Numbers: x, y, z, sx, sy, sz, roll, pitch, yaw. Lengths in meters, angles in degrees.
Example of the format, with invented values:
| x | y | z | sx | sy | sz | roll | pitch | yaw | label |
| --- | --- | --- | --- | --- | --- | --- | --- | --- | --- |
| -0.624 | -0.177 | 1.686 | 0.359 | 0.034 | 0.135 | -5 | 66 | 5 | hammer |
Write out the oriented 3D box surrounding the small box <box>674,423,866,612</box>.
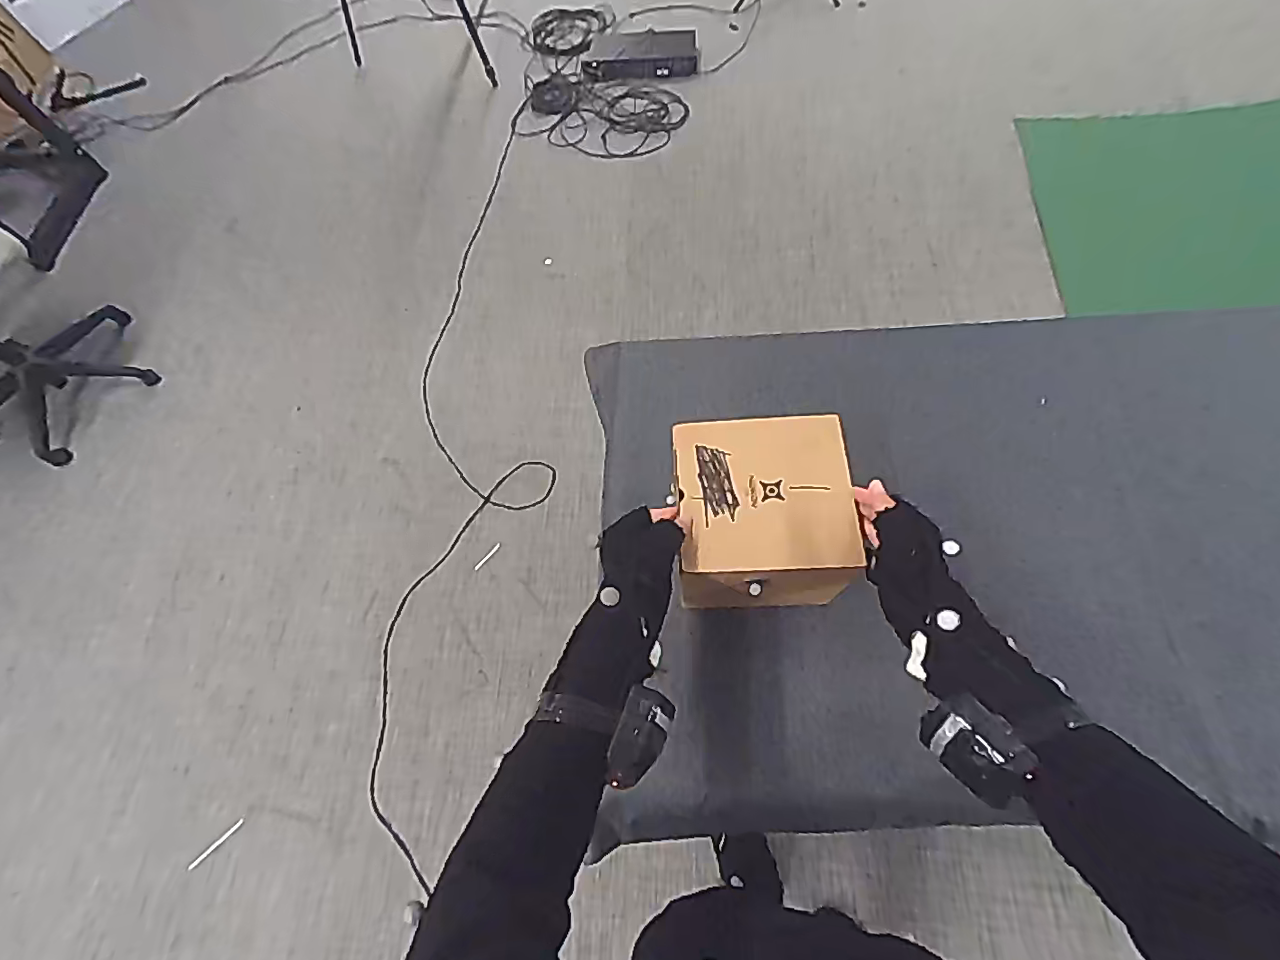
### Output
| x | y | z | sx | sy | sz | roll | pitch | yaw | label |
| --- | --- | --- | --- | --- | --- | --- | --- | --- | --- |
| 0.132 | 0.052 | 0.612 | 0.179 | 0.176 | 0.168 | -3 | 65 | 4 | small box |
